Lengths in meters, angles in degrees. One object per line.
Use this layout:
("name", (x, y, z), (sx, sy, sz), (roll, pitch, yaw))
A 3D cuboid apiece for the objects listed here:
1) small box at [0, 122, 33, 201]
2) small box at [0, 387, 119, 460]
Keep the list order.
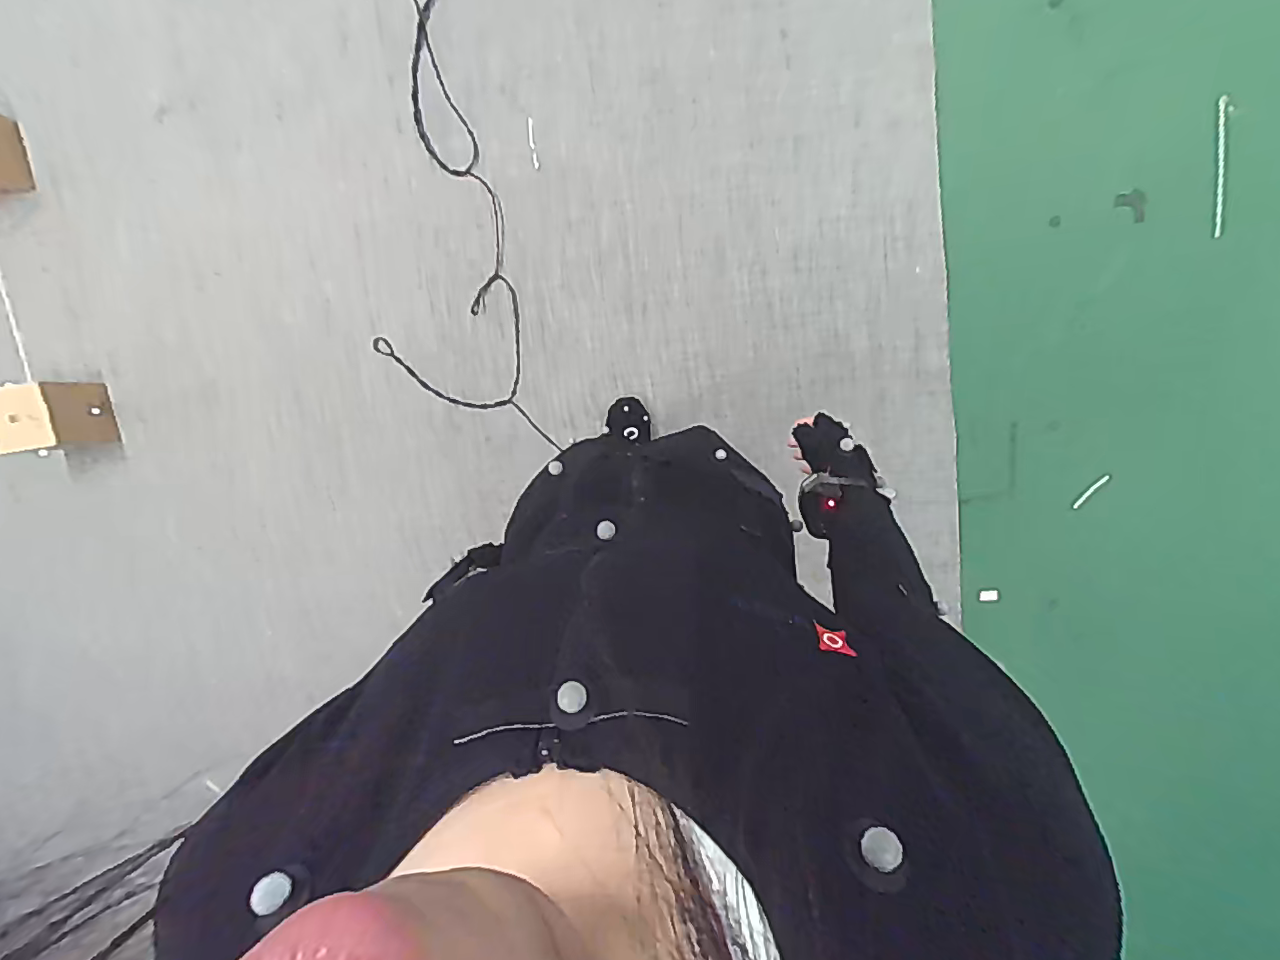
("small box", (-1.699, -0.820, 1.346), (0.168, 0.176, 0.179), (-9, 99, 3))
("small box", (-1.574, -0.153, 1.448), (0.179, 0.176, 0.168), (-9, 99, 4))
